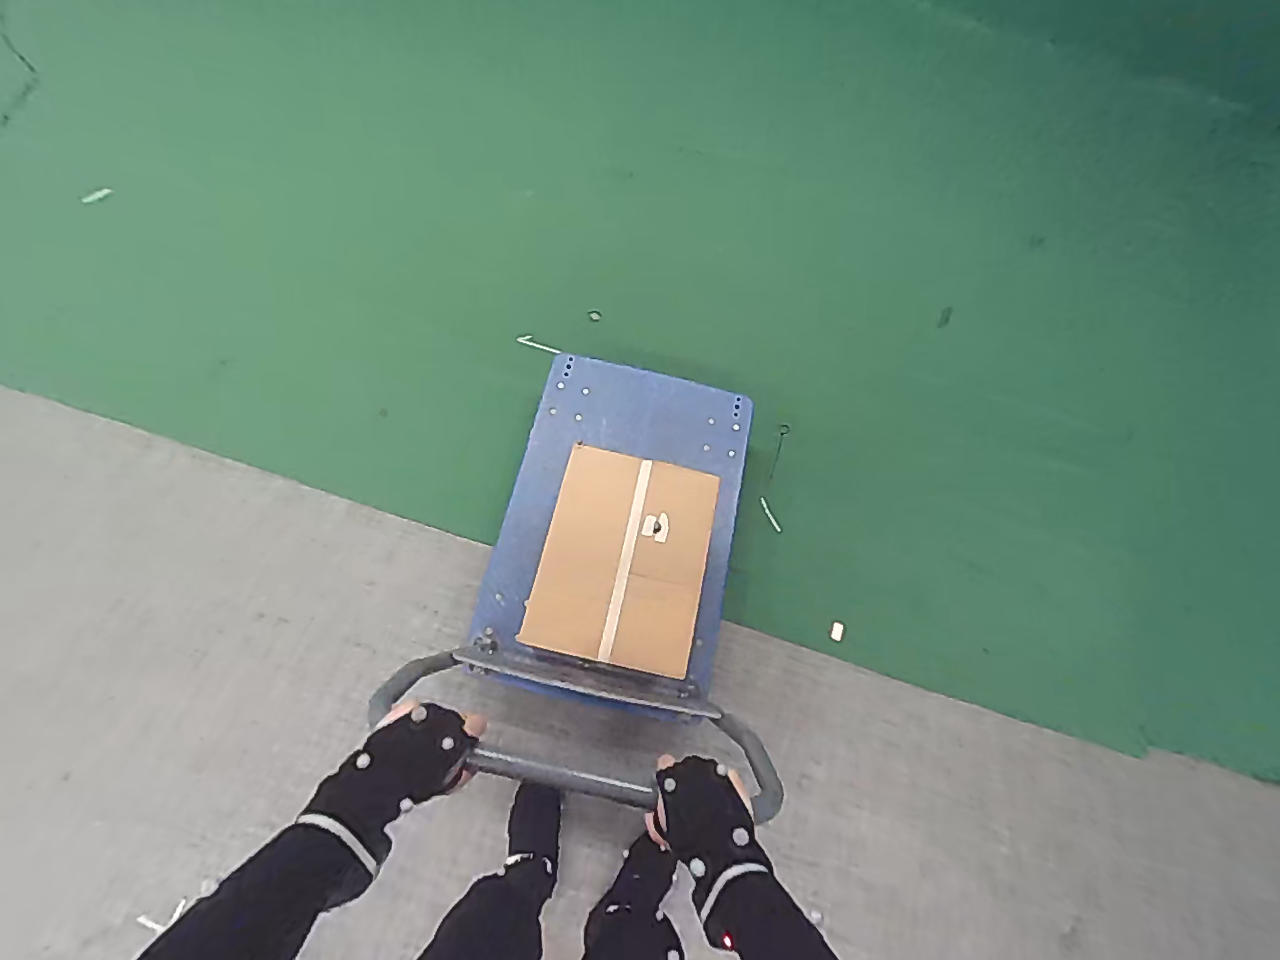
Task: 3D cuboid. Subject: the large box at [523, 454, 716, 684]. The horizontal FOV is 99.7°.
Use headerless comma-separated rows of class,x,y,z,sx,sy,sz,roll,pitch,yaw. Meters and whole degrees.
large box,-0.042,0.209,1.183,0.320,0.320,0.408,13,70,-2
